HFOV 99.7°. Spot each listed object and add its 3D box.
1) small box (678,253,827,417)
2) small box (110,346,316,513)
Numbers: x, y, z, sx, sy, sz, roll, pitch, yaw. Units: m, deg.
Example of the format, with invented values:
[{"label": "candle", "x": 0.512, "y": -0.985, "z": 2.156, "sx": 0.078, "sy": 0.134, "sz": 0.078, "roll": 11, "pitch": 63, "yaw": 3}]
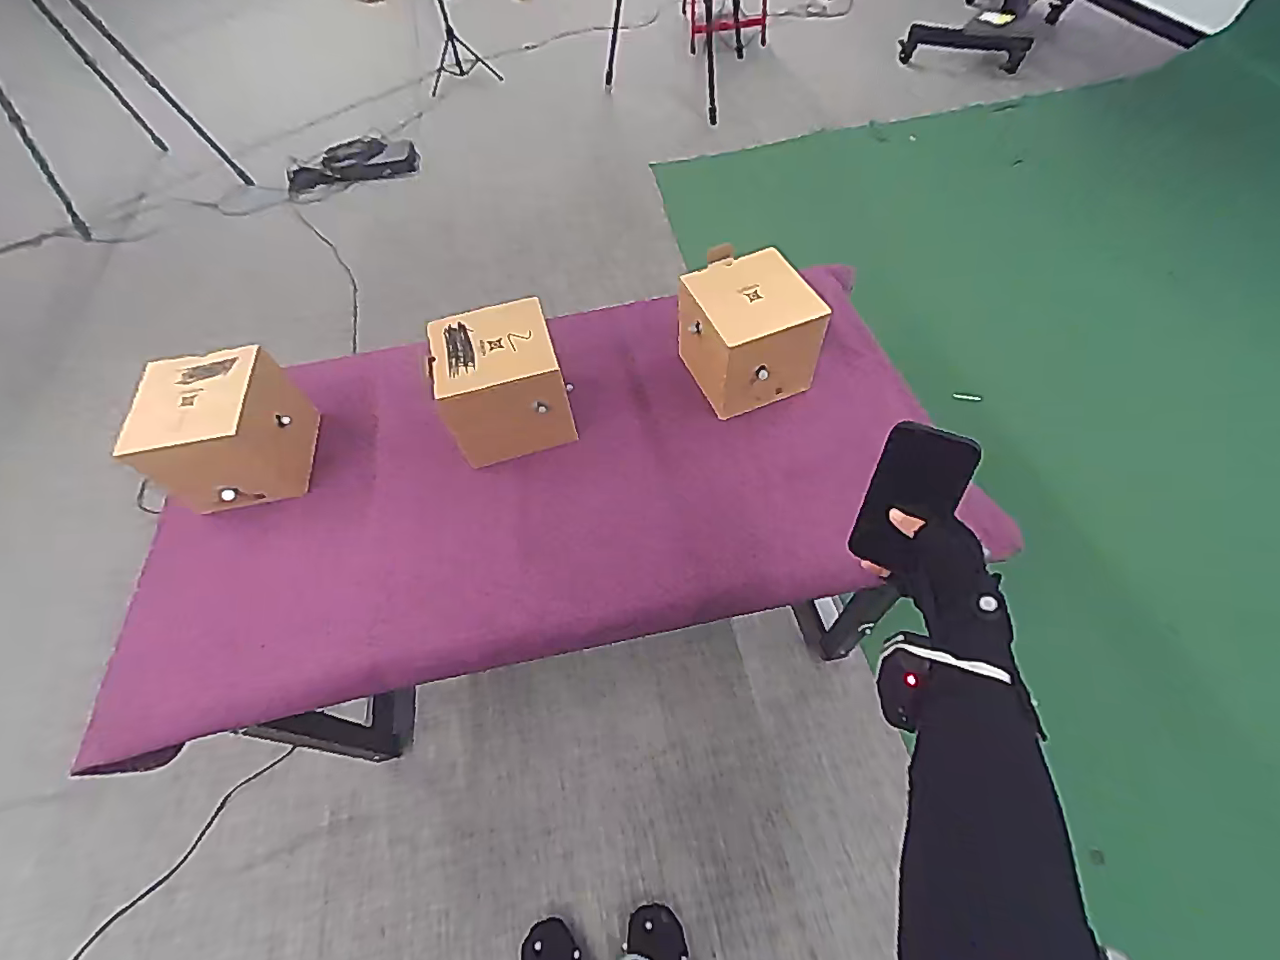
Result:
[{"label": "small box", "x": 0.170, "y": -0.223, "z": 0.868, "sx": 0.168, "sy": 0.176, "sz": 0.179, "roll": -20, "pitch": 57, "yaw": -8}, {"label": "small box", "x": -0.629, "y": -0.074, "z": 0.828, "sx": 0.168, "sy": 0.176, "sz": 0.179, "roll": -10, "pitch": 59, "yaw": -3}]
